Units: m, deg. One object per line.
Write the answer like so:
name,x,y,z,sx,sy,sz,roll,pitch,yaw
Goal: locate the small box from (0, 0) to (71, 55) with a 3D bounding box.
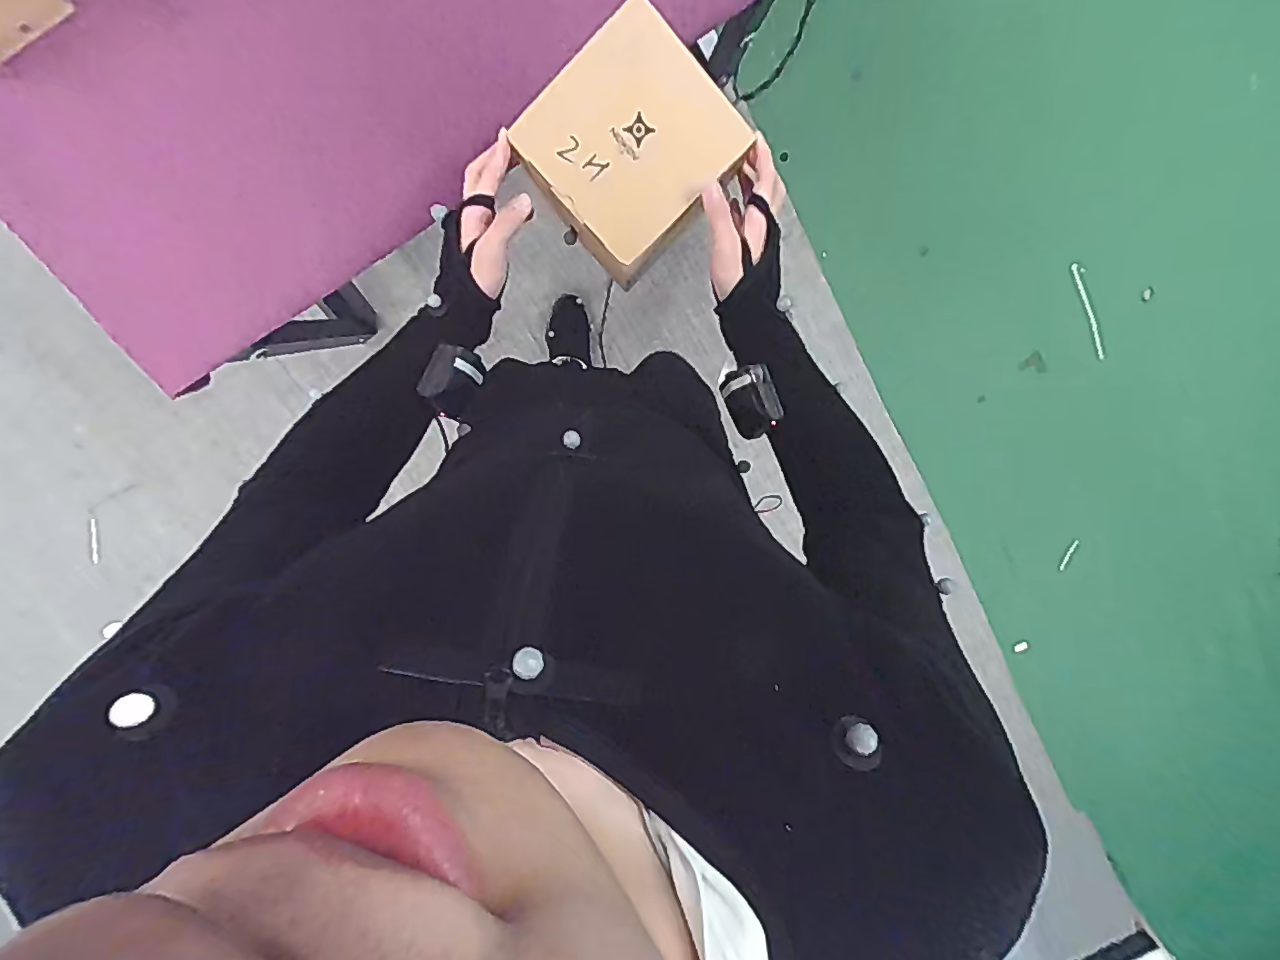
small box,-0.792,-0.586,0.569,0.168,0.176,0.179,-30,108,4
